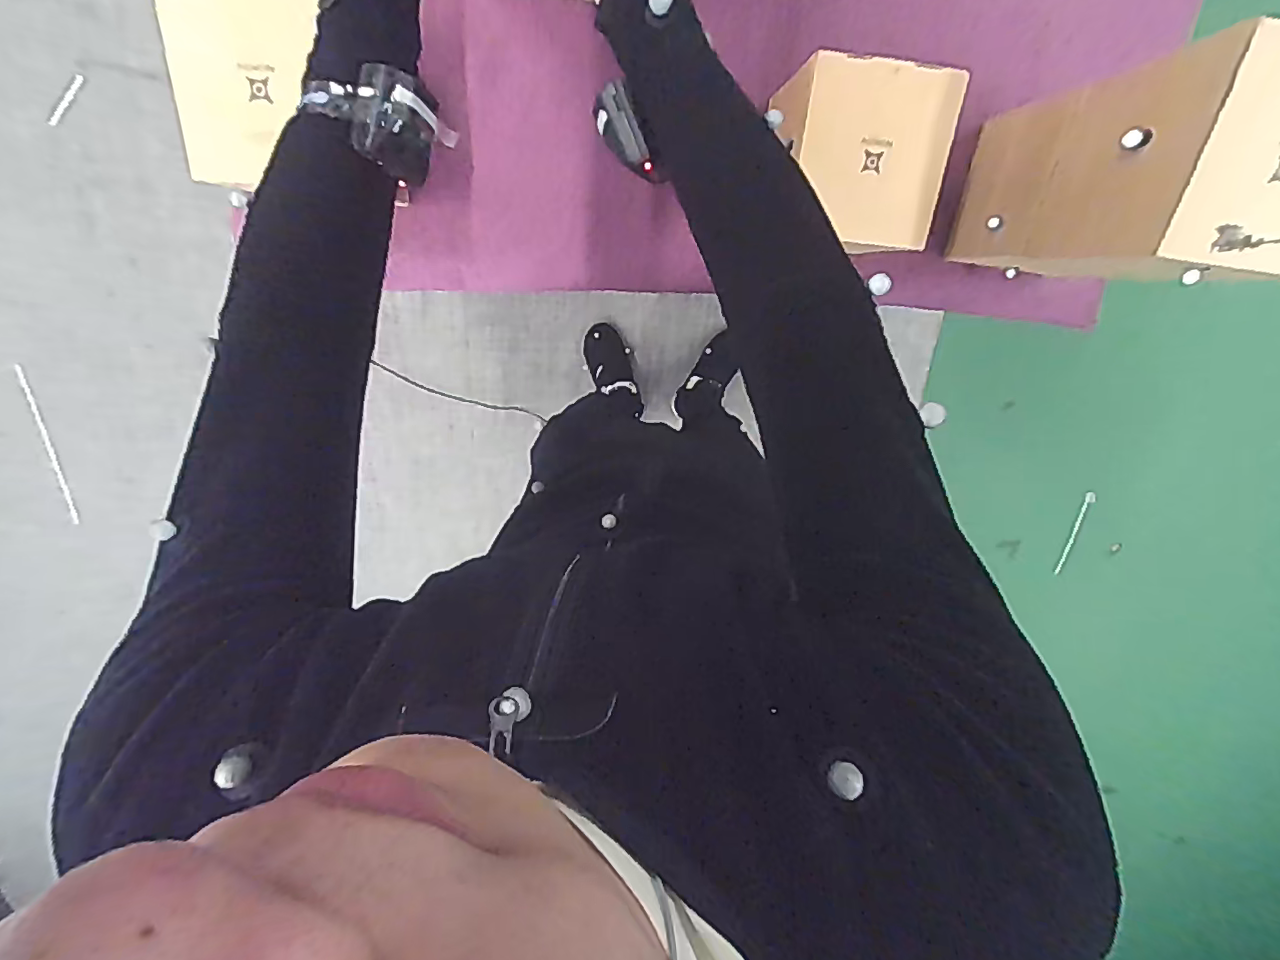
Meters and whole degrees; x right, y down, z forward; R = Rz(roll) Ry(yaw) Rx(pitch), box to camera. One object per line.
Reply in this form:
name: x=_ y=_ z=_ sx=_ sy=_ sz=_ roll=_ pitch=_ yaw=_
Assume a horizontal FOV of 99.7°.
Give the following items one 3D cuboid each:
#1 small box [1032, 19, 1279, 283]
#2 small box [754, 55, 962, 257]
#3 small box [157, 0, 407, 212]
small box: x=0.536 y=-0.295 z=0.528 sx=0.168 sy=0.176 sz=0.179 roll=6 pitch=110 yaw=-4
small box: x=0.245 y=-0.374 z=0.660 sx=0.168 sy=0.176 sz=0.179 roll=4 pitch=110 yaw=-4
small box: x=-0.378 y=-0.413 z=0.607 sx=0.168 sy=0.176 sz=0.179 roll=2 pitch=111 yaw=-4
